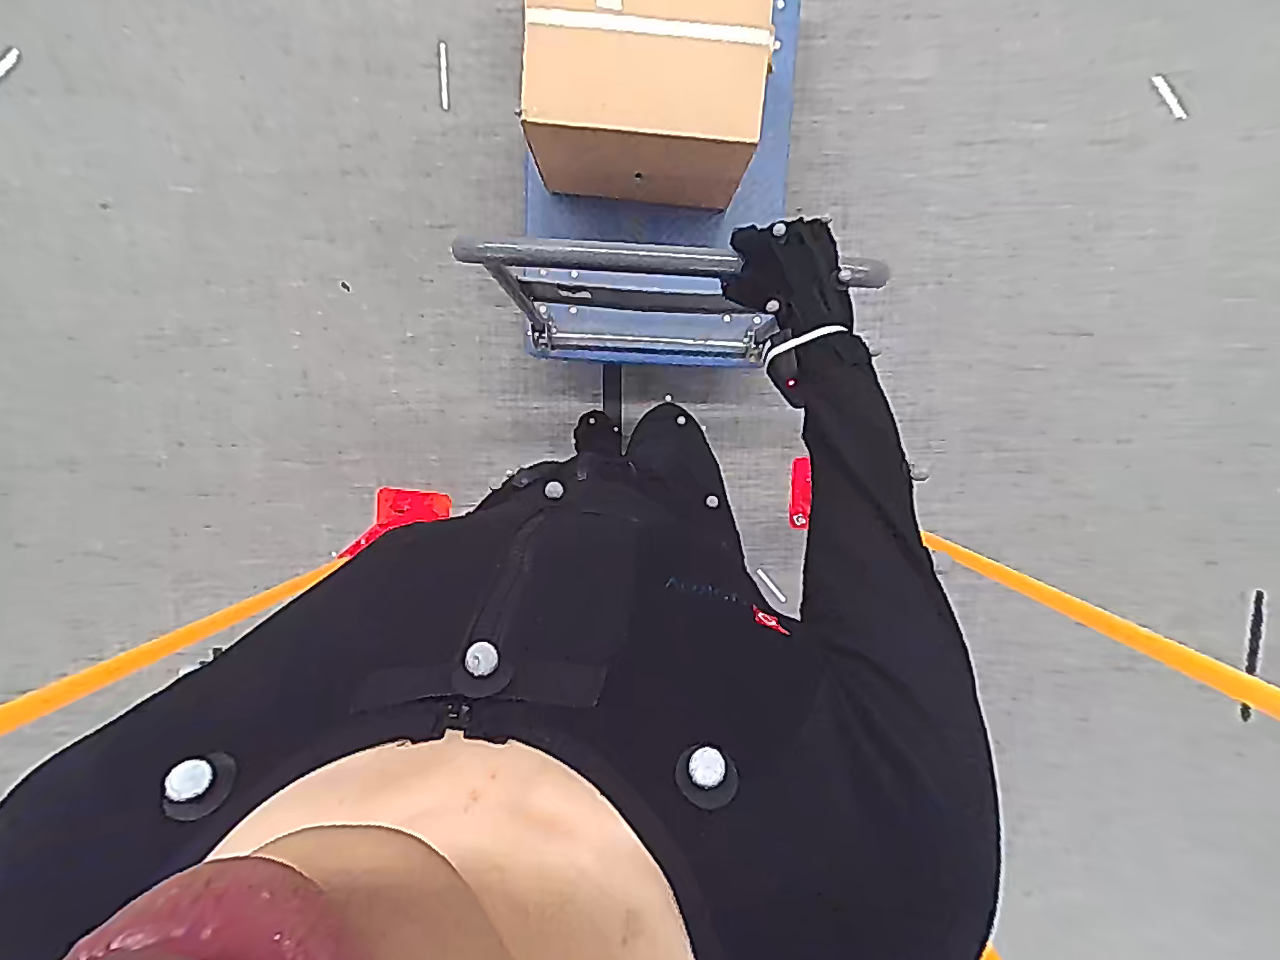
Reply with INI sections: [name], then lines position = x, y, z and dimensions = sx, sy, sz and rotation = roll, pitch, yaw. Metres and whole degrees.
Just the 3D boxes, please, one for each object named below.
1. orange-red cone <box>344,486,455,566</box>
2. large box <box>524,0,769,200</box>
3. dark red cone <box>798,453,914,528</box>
[orange-red cone]
position = -0.606, 0.141, 1.304
dimensions = 0.198, 0.360, 0.199
rotation = 7, 96, -2
[large box]
position = 0.012, -0.762, 1.039
dimensions = 0.408, 0.320, 0.320
rotation = 4, 97, -1
[dark red cone]
position = 0.524, 0.050, 1.276
dimensions = 0.201, 0.394, 0.202
rotation = -1, 98, -2
